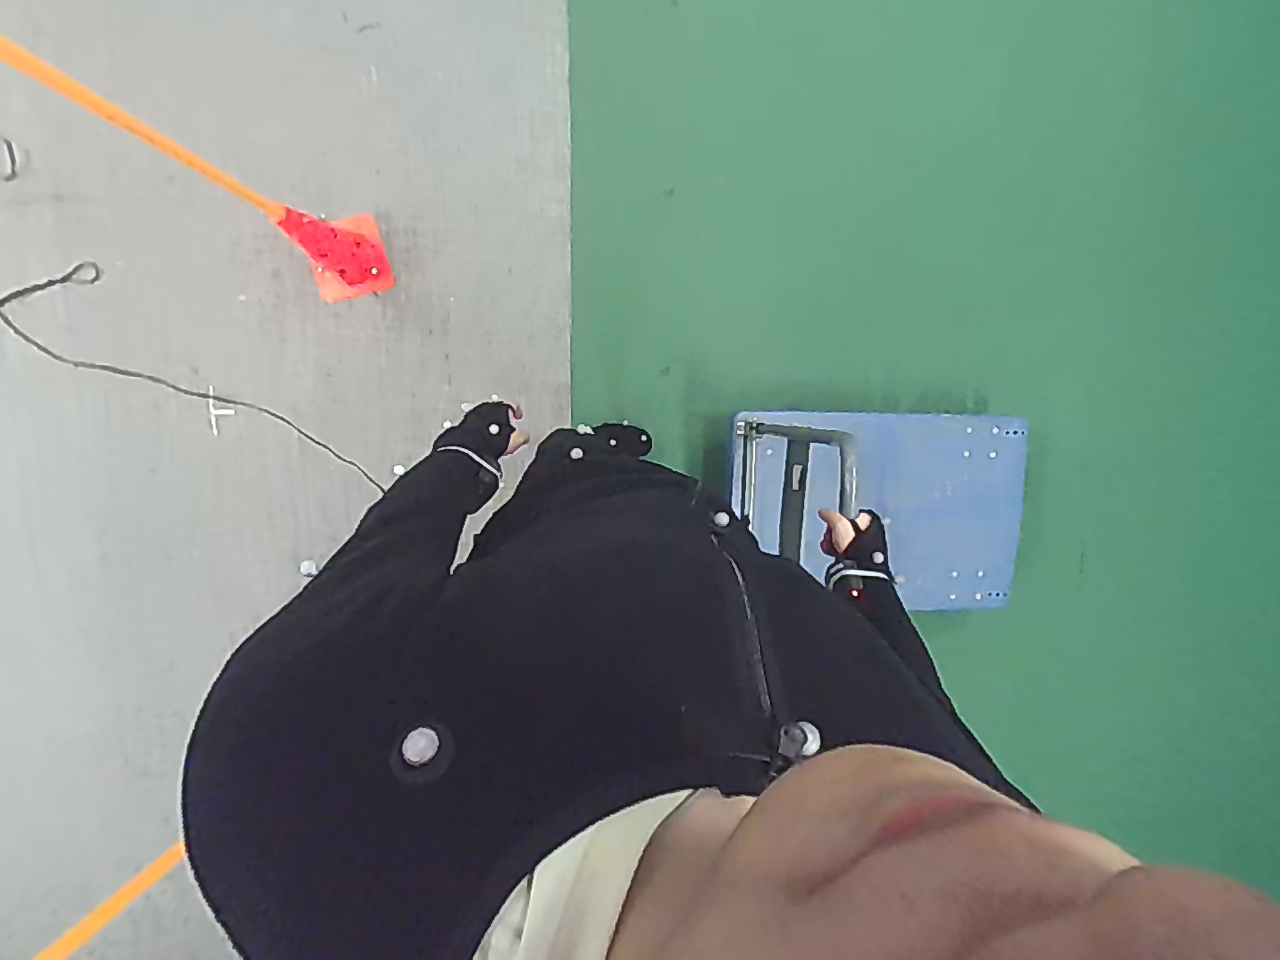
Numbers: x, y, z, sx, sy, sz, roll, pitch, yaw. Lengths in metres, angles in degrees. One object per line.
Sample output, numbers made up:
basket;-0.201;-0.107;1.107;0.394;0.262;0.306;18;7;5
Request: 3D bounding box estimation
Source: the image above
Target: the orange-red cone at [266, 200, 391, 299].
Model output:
orange-red cone;-0.781;-0.587;1.302;0.198;0.360;0.199;-15;97;-4
